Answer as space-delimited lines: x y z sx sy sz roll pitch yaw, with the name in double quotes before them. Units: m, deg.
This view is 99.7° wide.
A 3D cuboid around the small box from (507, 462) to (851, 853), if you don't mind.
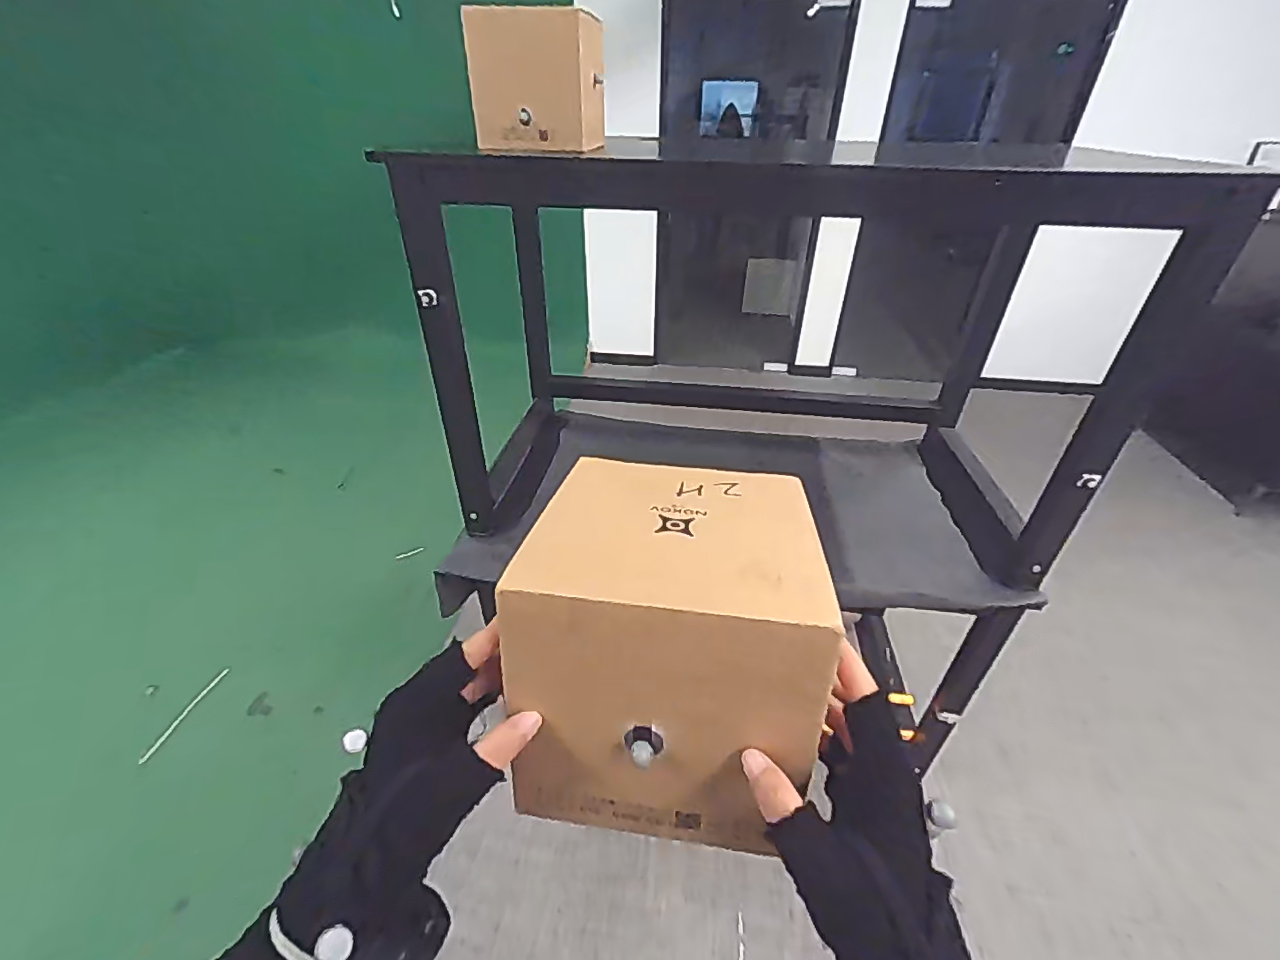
"small box" 0.026 0.102 0.358 0.168 0.176 0.179 6 24 6
